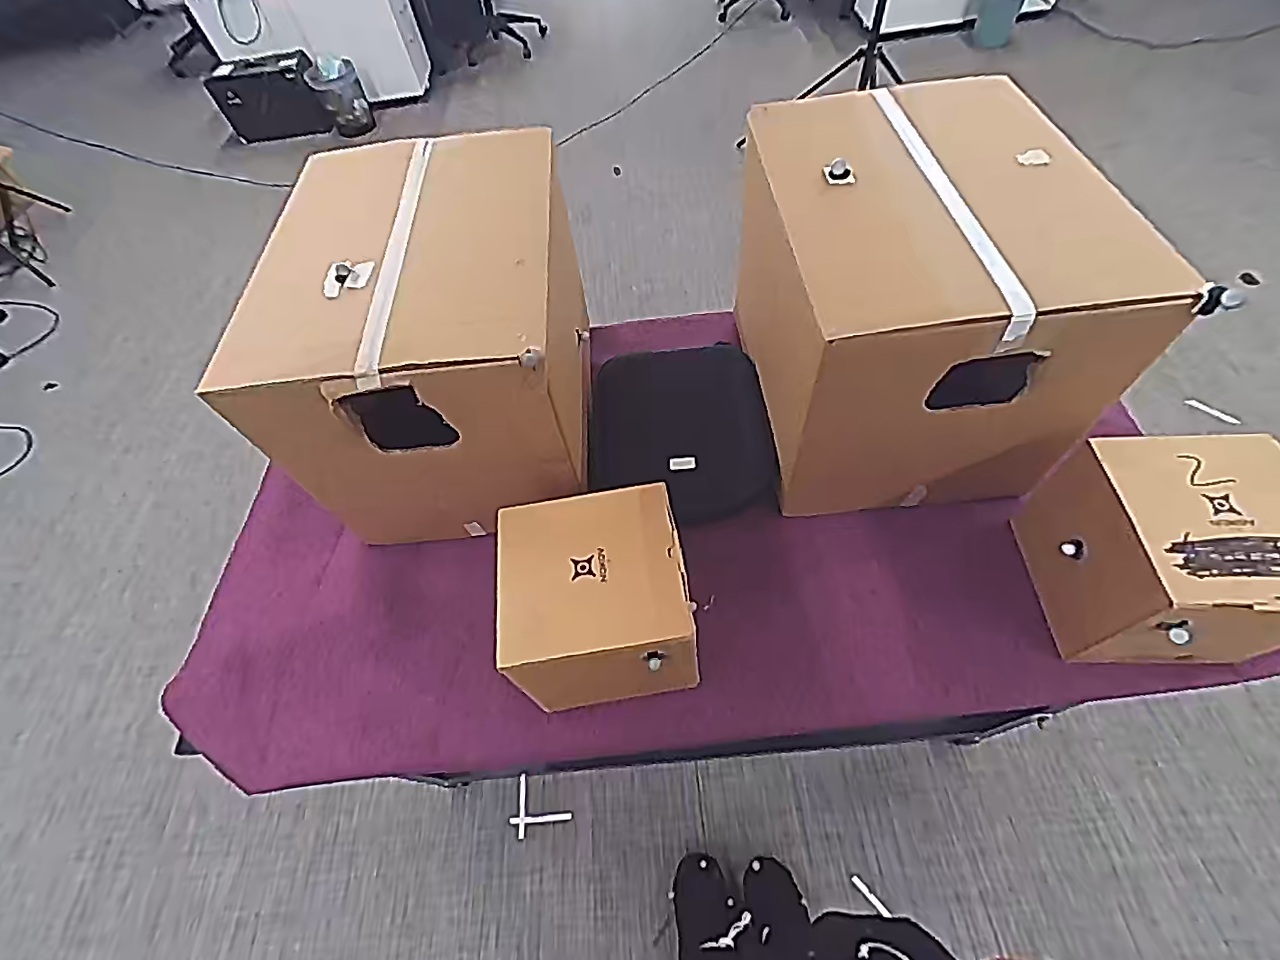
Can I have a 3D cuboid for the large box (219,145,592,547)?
[{"bbox_3d":[-0.241,-0.166,0.715,0.320,0.320,0.408,-7,59,2],"label":"large box"}]
